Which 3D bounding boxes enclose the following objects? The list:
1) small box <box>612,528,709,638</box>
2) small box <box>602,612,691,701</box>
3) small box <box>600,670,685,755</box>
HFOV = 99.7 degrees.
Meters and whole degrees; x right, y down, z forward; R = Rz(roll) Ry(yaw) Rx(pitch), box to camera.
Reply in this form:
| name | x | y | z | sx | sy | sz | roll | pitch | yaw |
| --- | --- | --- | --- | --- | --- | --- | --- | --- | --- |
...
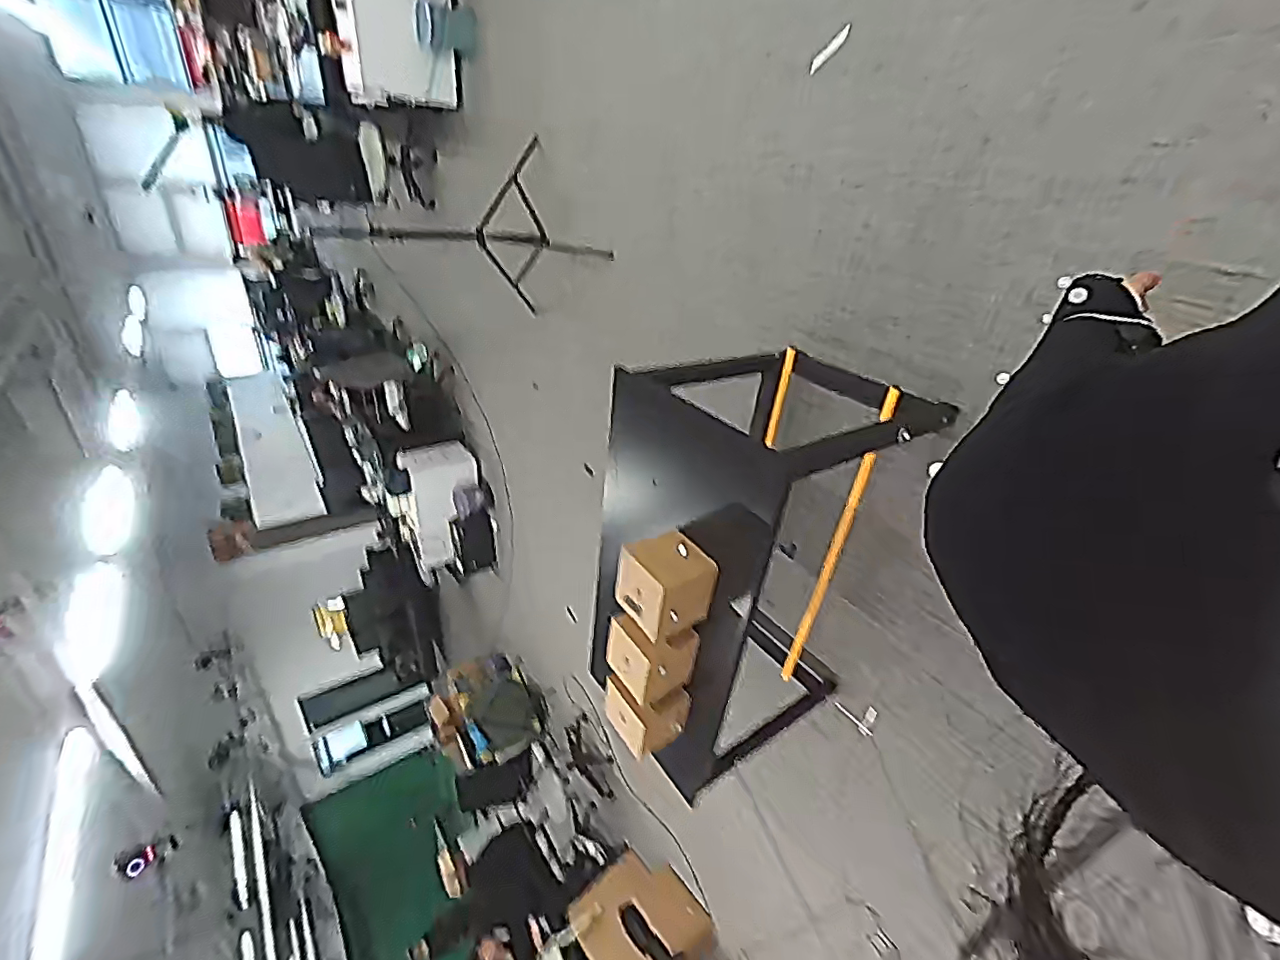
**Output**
| name | x | y | z | sx | sy | sz | roll | pitch | yaw |
| --- | --- | --- | --- | --- | --- | --- | --- | --- | --- |
| small box | 0.049 | 0.245 | 1.324 | 0.168 | 0.176 | 0.179 | 40 | 133 | 41 |
| small box | 0.018 | 0.447 | 1.454 | 0.168 | 0.176 | 0.179 | 41 | 135 | 41 |
| small box | 0.004 | 0.639 | 1.559 | 0.179 | 0.176 | 0.168 | 38 | 134 | 41 |
